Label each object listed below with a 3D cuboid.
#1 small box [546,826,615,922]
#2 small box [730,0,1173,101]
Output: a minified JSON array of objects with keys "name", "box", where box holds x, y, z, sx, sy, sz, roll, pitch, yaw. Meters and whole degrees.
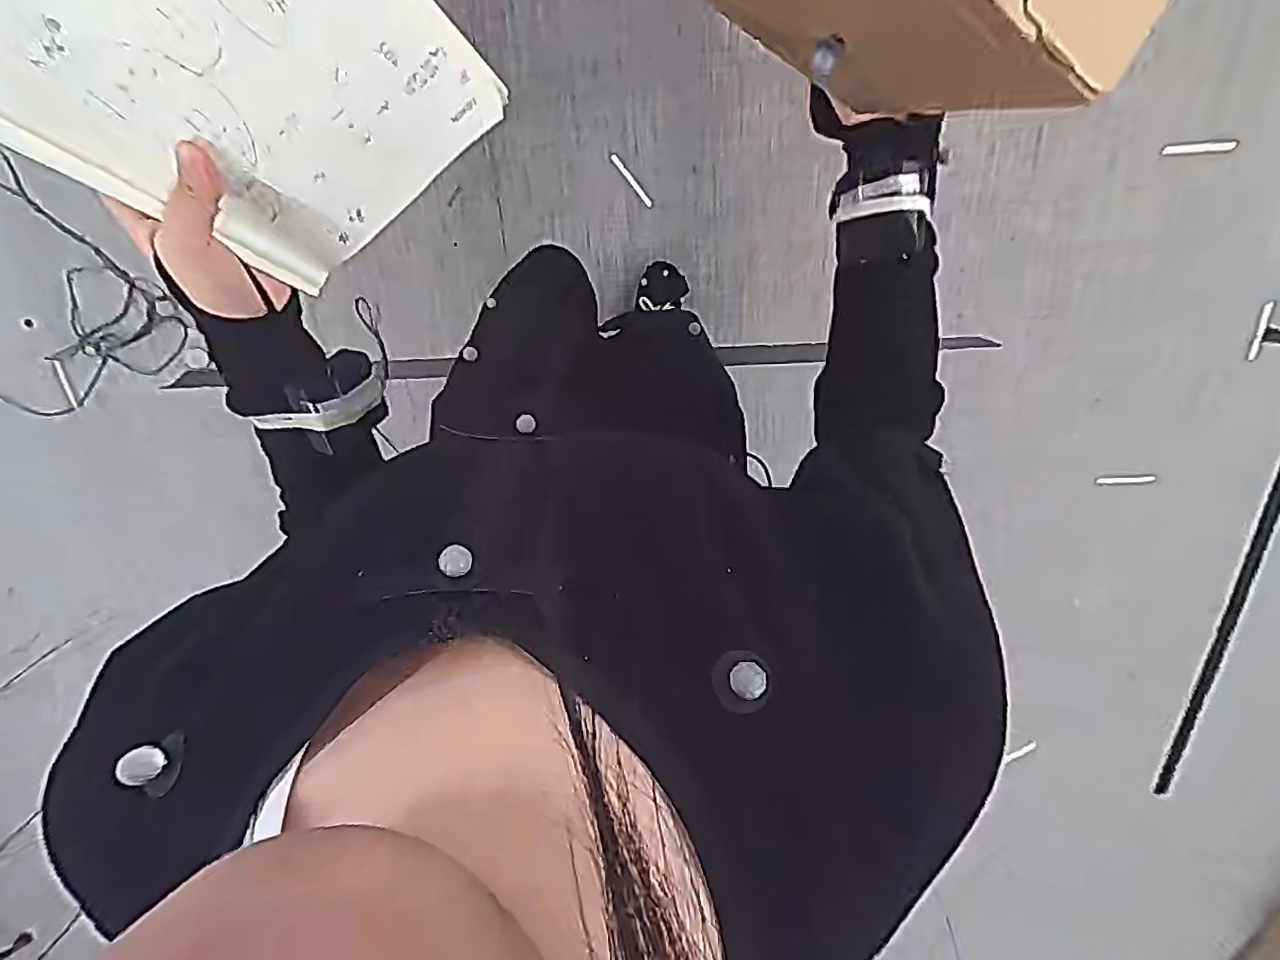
[{"name":"small box","box":[-0.166,1.137,1.571,0.168,0.176,0.179,-5,112,5]},{"name":"small box","box":[0.151,-0.306,0.241,0.168,0.176,0.179,10,115,-30]}]
